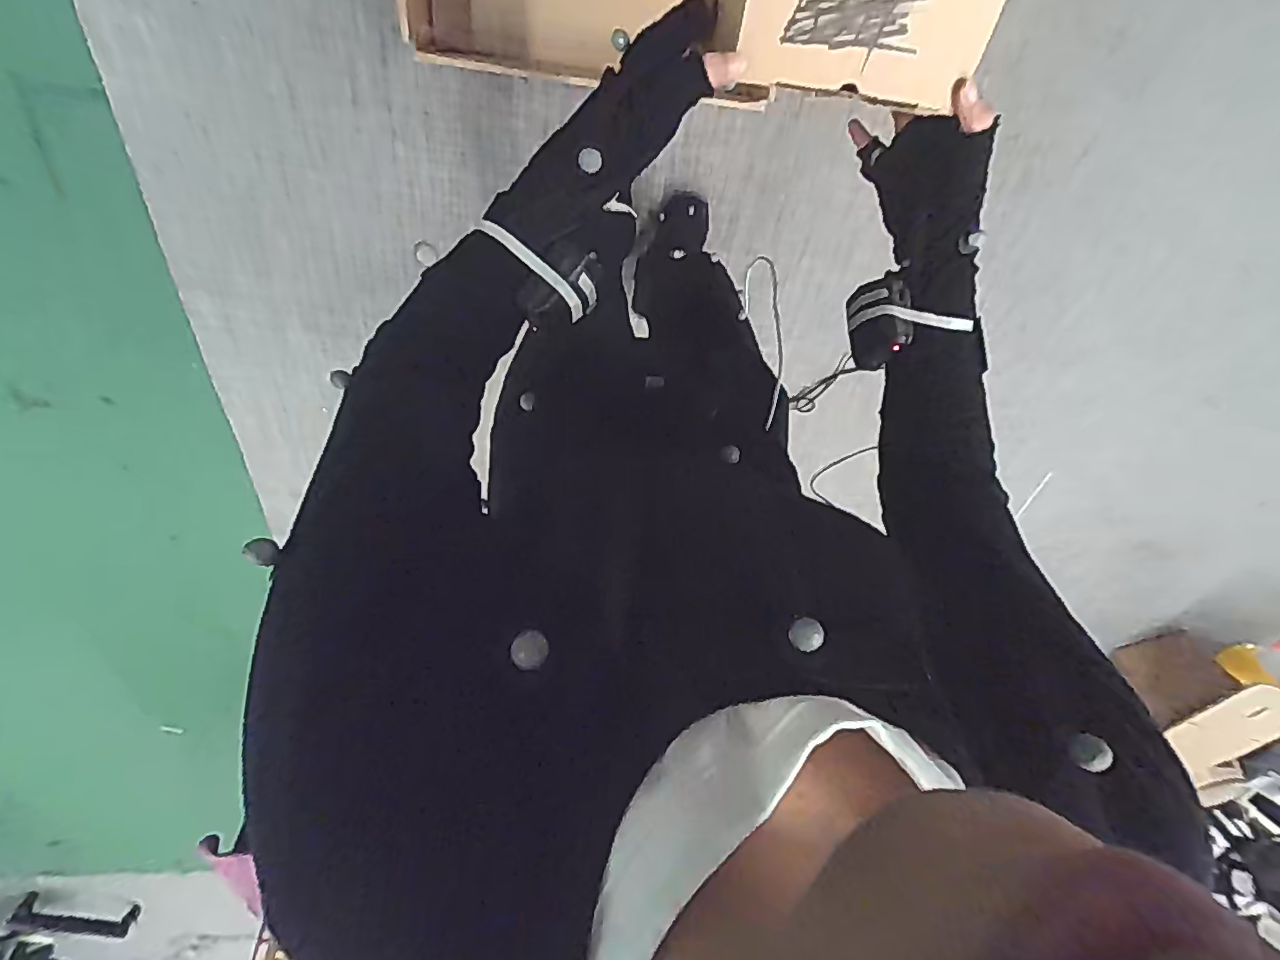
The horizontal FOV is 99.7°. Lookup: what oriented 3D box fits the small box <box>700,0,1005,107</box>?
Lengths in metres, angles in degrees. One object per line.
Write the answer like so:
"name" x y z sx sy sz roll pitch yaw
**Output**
"small box" 0.144 -0.379 0.363 0.168 0.176 0.179 2 131 -10
